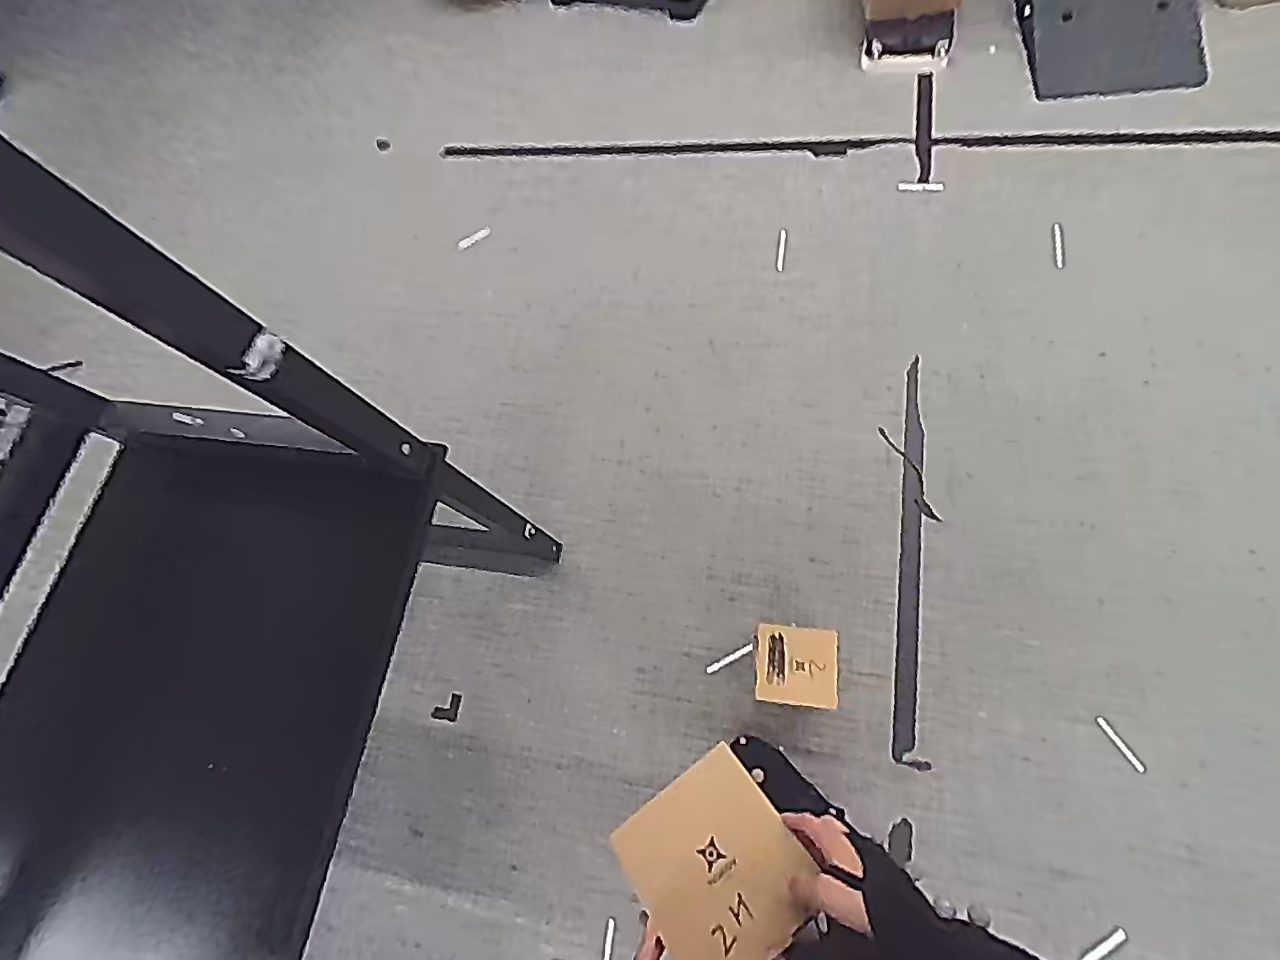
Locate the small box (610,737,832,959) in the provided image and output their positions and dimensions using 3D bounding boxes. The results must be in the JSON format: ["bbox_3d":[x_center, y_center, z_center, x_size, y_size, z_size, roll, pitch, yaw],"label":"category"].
[{"bbox_3d":[0.090,0.439,0.619,0.168,0.176,0.179,-32,51,-13],"label":"small box"}]
